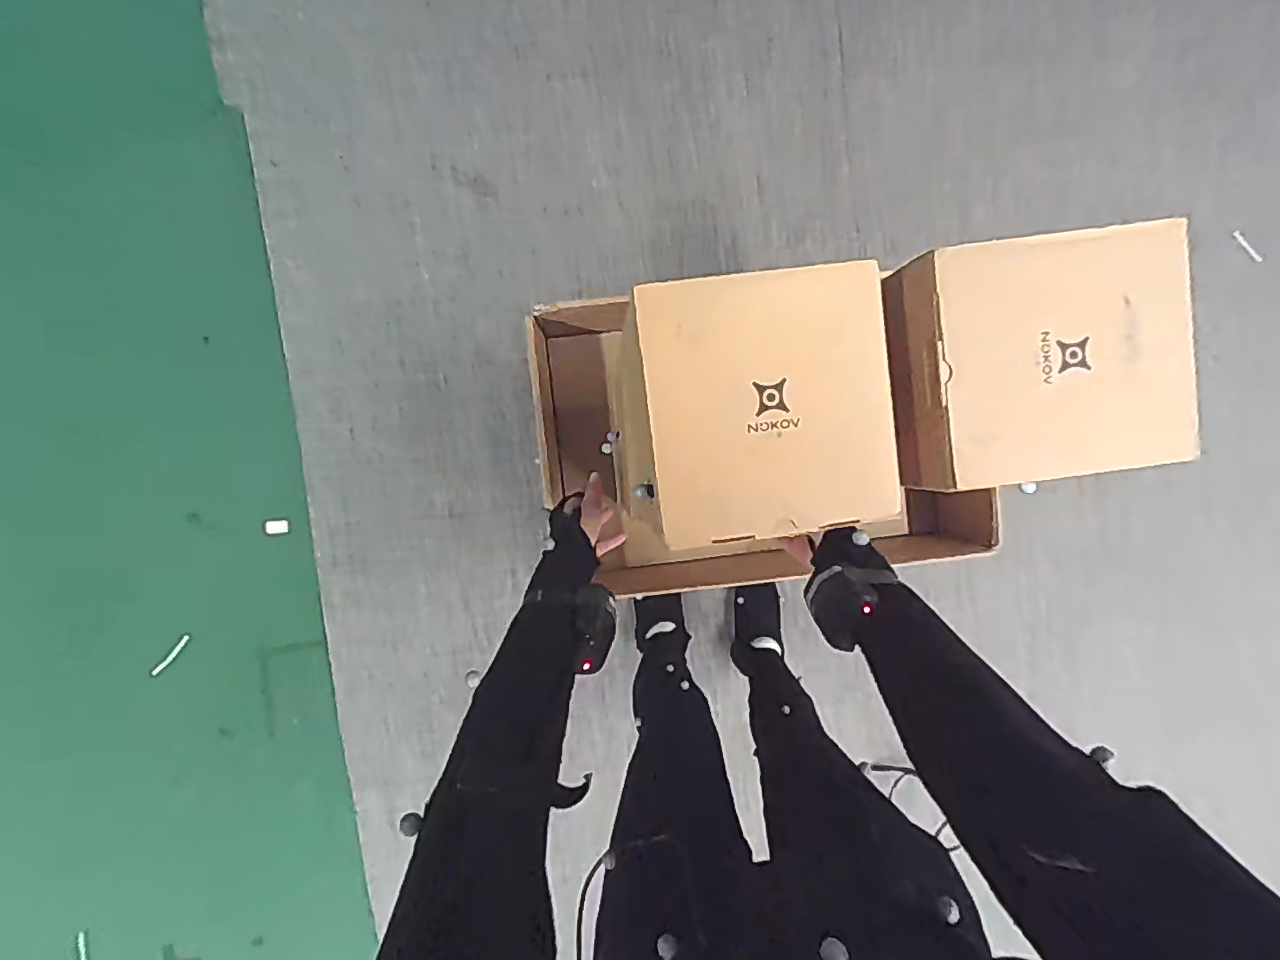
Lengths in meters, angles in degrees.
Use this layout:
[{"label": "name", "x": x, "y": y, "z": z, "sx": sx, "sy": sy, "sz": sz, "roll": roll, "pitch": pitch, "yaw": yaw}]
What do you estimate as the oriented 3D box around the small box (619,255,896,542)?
[{"label": "small box", "x": 0.076, "y": -0.057, "z": 0.436, "sx": 0.168, "sy": 0.176, "sz": 0.179, "roll": -8, "pitch": 94, "yaw": -4}]
